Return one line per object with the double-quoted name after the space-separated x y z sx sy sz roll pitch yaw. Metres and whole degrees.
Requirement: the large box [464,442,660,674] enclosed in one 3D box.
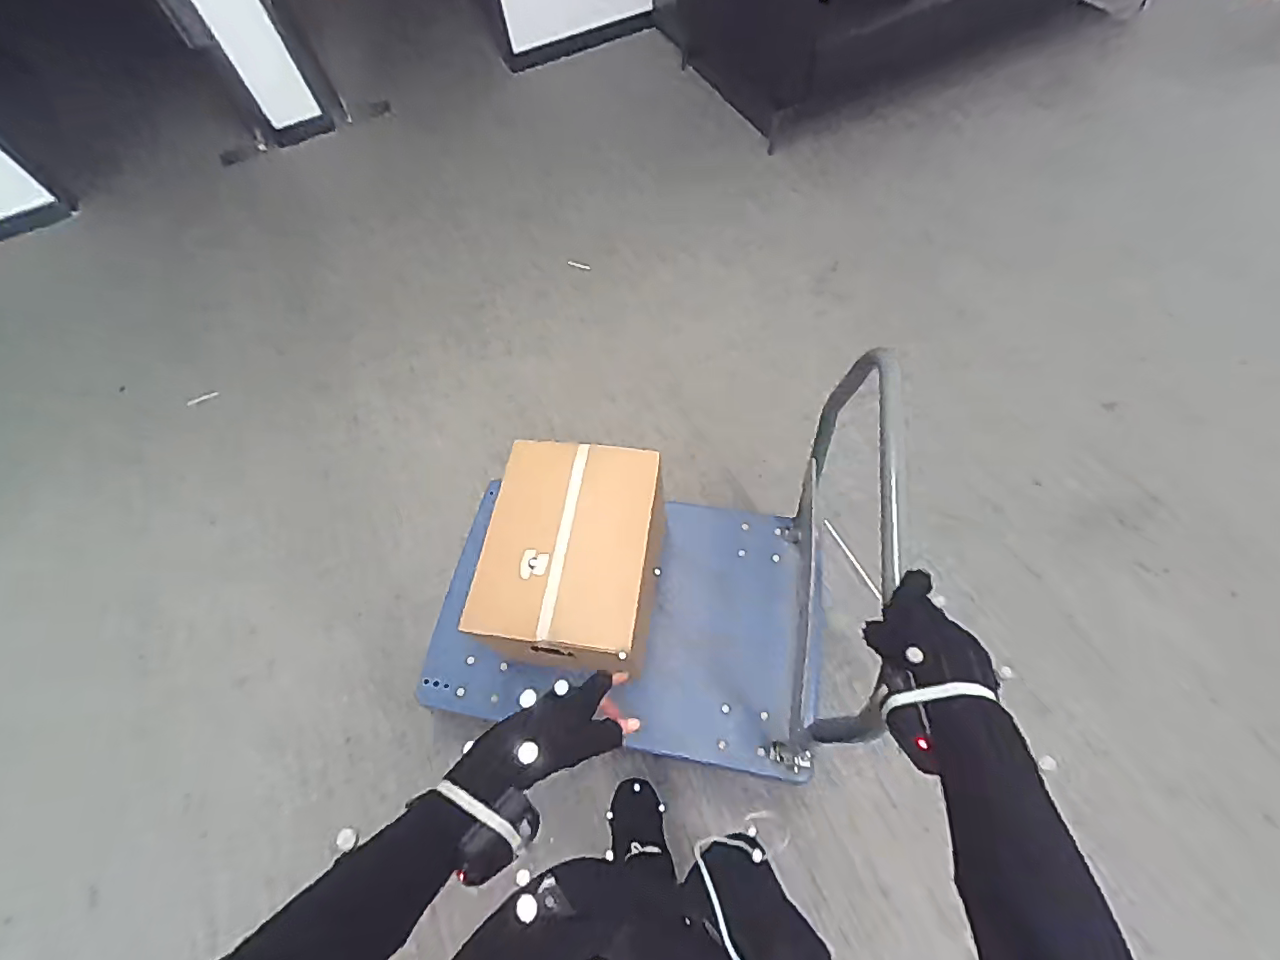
-0.131 0.173 1.167 0.320 0.320 0.408 5 64 9 "large box"
